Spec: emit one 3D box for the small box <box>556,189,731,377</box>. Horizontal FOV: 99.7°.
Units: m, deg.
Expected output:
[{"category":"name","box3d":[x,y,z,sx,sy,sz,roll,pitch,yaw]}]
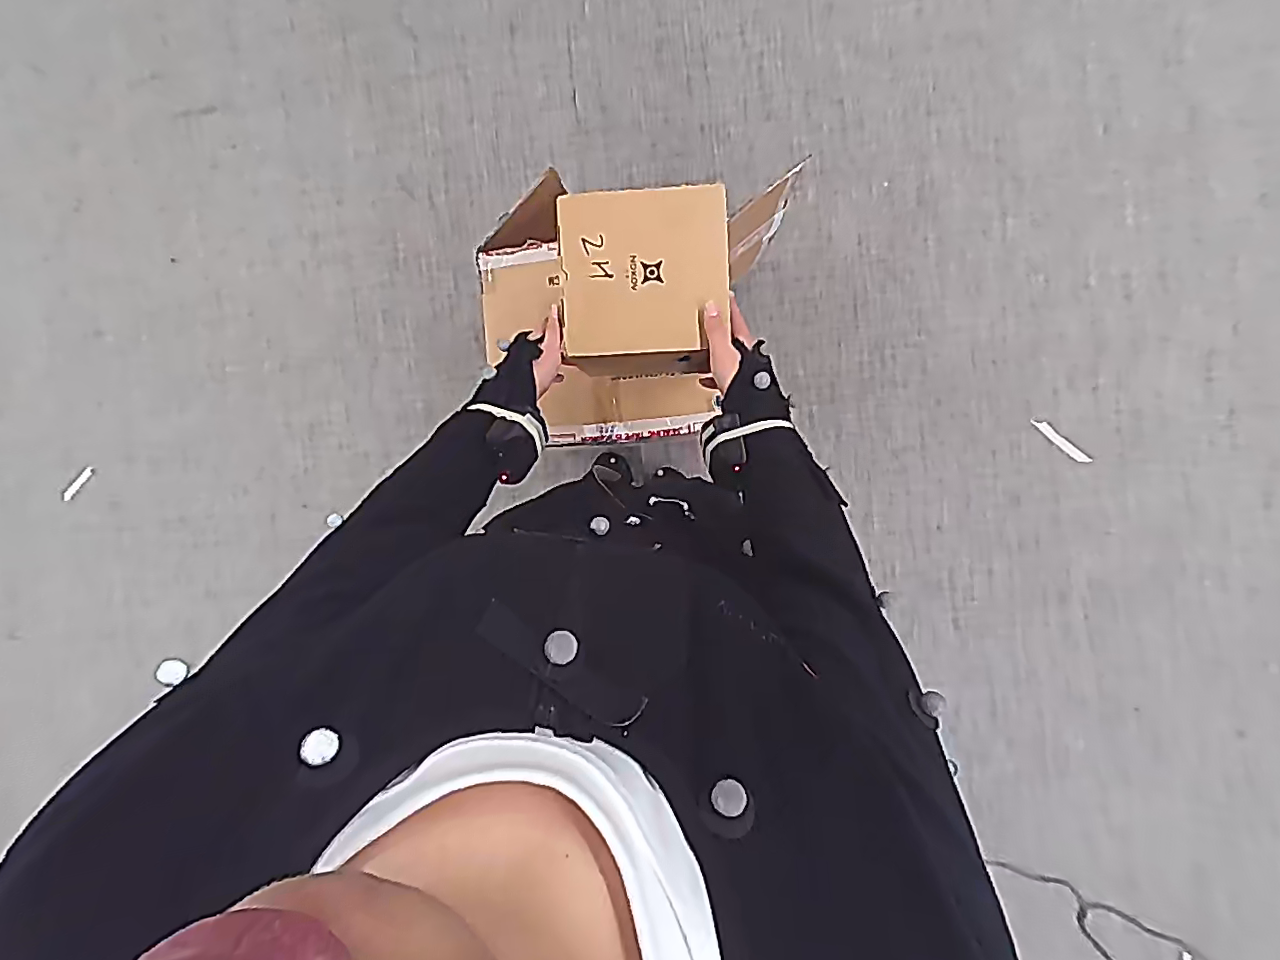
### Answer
[{"category":"small box","box3d":[0.007,-0.214,0.630,0.179,0.176,0.168,-2,93,3]}]
